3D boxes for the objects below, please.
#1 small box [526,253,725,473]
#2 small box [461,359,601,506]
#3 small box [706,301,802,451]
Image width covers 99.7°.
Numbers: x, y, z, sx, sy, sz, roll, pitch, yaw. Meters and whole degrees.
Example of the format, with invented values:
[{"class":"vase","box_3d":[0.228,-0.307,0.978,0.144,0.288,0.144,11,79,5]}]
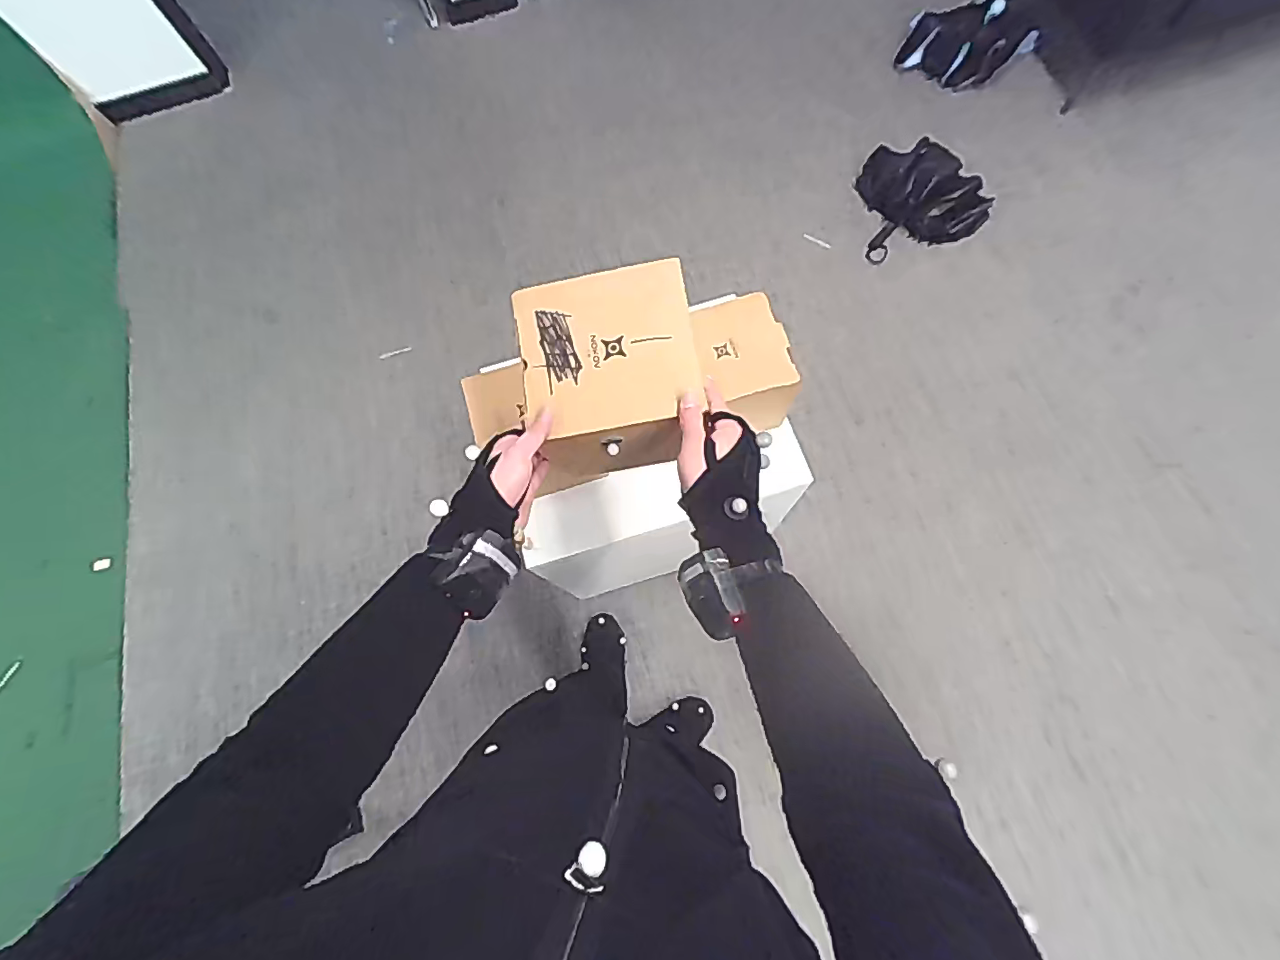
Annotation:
[{"class":"small box","box_3d":[-0.011,-0.114,0.593,0.179,0.176,0.168,-10,76,2]},{"class":"small box","box_3d":[-0.163,-0.075,0.866,0.179,0.176,0.168,-18,70,-5]},{"class":"small box","box_3d":[0.137,-0.161,0.890,0.179,0.176,0.168,-15,71,-4]}]
